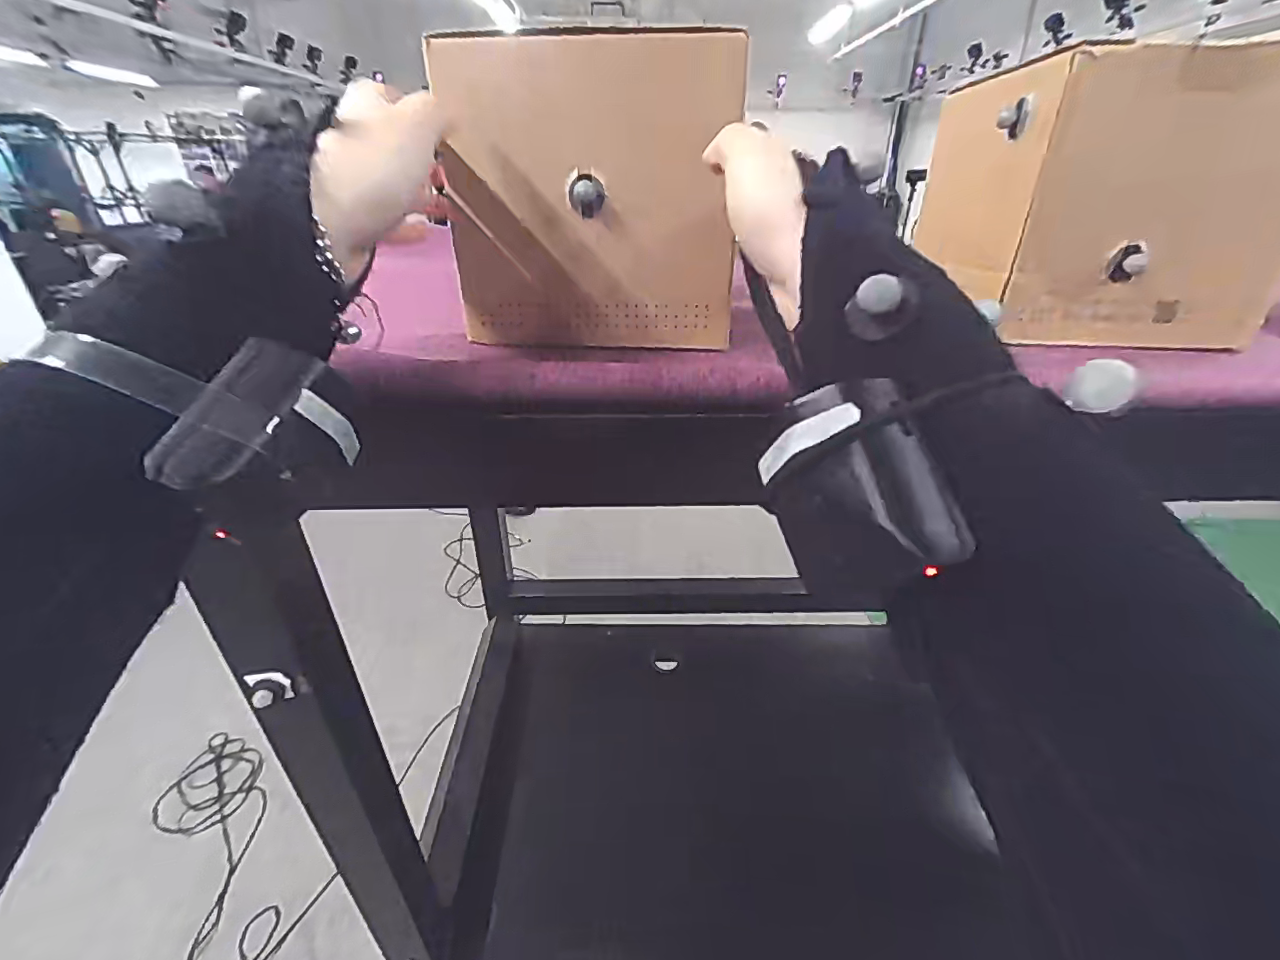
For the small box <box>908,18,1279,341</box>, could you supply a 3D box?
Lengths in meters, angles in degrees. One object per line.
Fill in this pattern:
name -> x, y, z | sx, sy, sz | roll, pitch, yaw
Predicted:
small box -> 0.321, -0.208, 0.395 | 0.168, 0.176, 0.179 | 2, 29, 4
